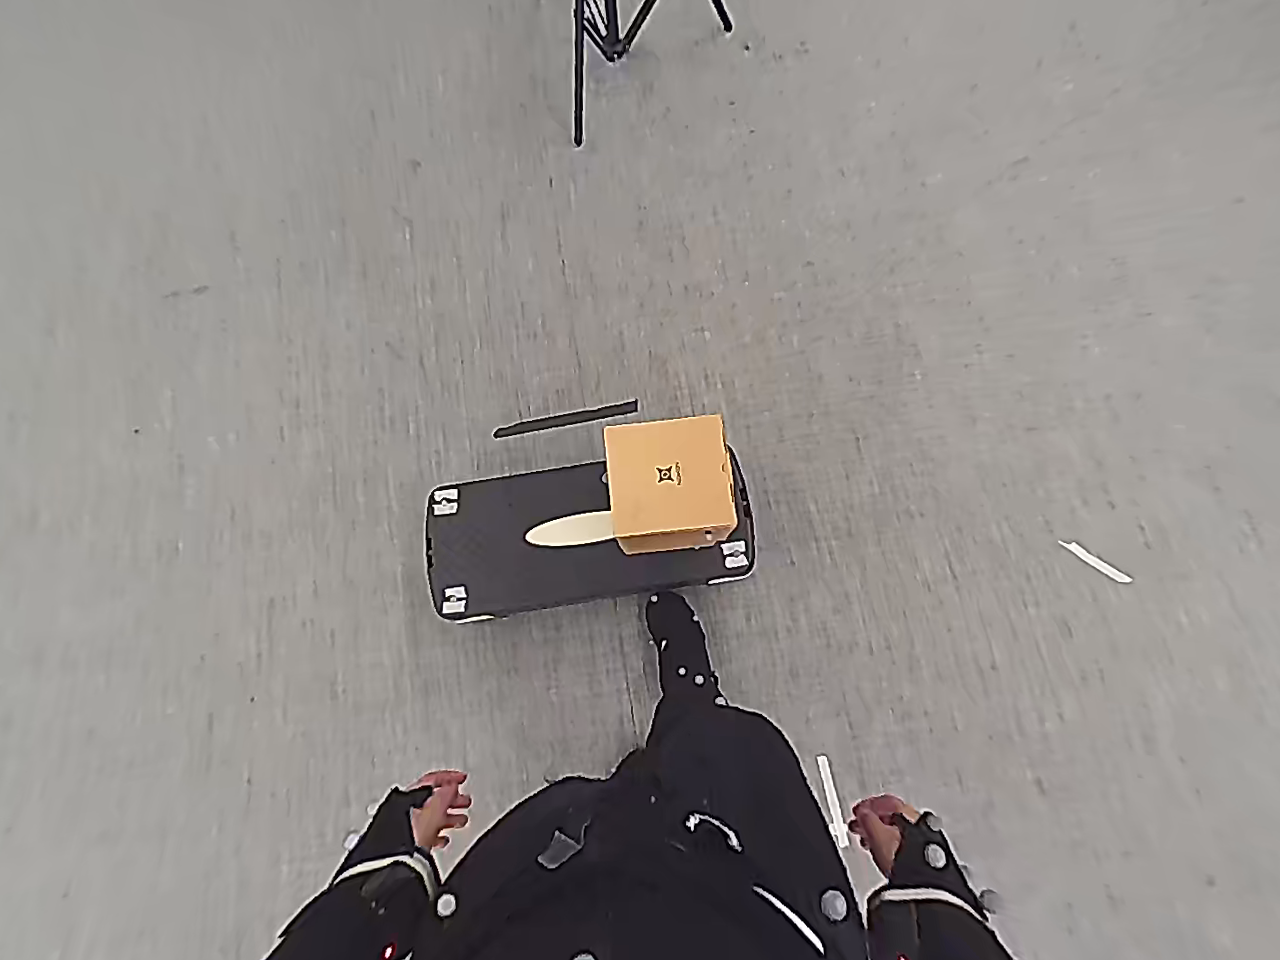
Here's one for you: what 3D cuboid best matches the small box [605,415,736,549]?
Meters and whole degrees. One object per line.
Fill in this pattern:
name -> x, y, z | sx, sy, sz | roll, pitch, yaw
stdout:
small box -> 0.045, 0.011, 0.848 | 0.179, 0.176, 0.168 | -6, 77, 0

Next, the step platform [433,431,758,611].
step platform -> -0.092, 0.093, 1.181 | 0.684, 0.204, 0.286 | -10, 76, 1
